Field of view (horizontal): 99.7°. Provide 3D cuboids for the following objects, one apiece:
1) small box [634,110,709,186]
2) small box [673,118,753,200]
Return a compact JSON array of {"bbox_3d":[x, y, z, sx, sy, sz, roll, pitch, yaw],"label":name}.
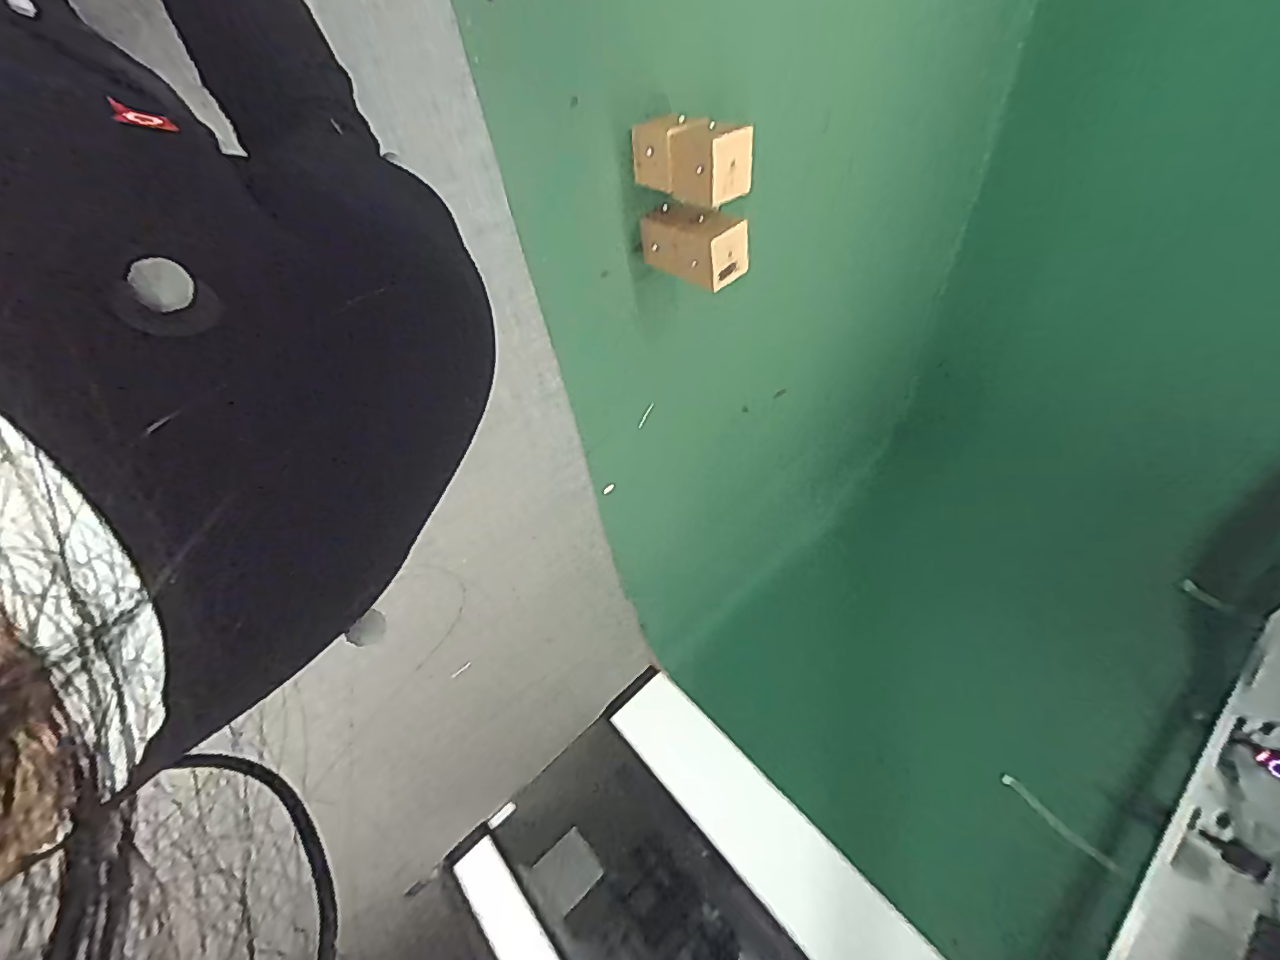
[{"bbox_3d":[0.094,-1.031,1.674,0.179,0.176,0.168,-33,140,-26],"label":"small box"},{"bbox_3d":[0.211,-0.949,1.590,0.168,0.176,0.179,-34,140,-25],"label":"small box"}]
